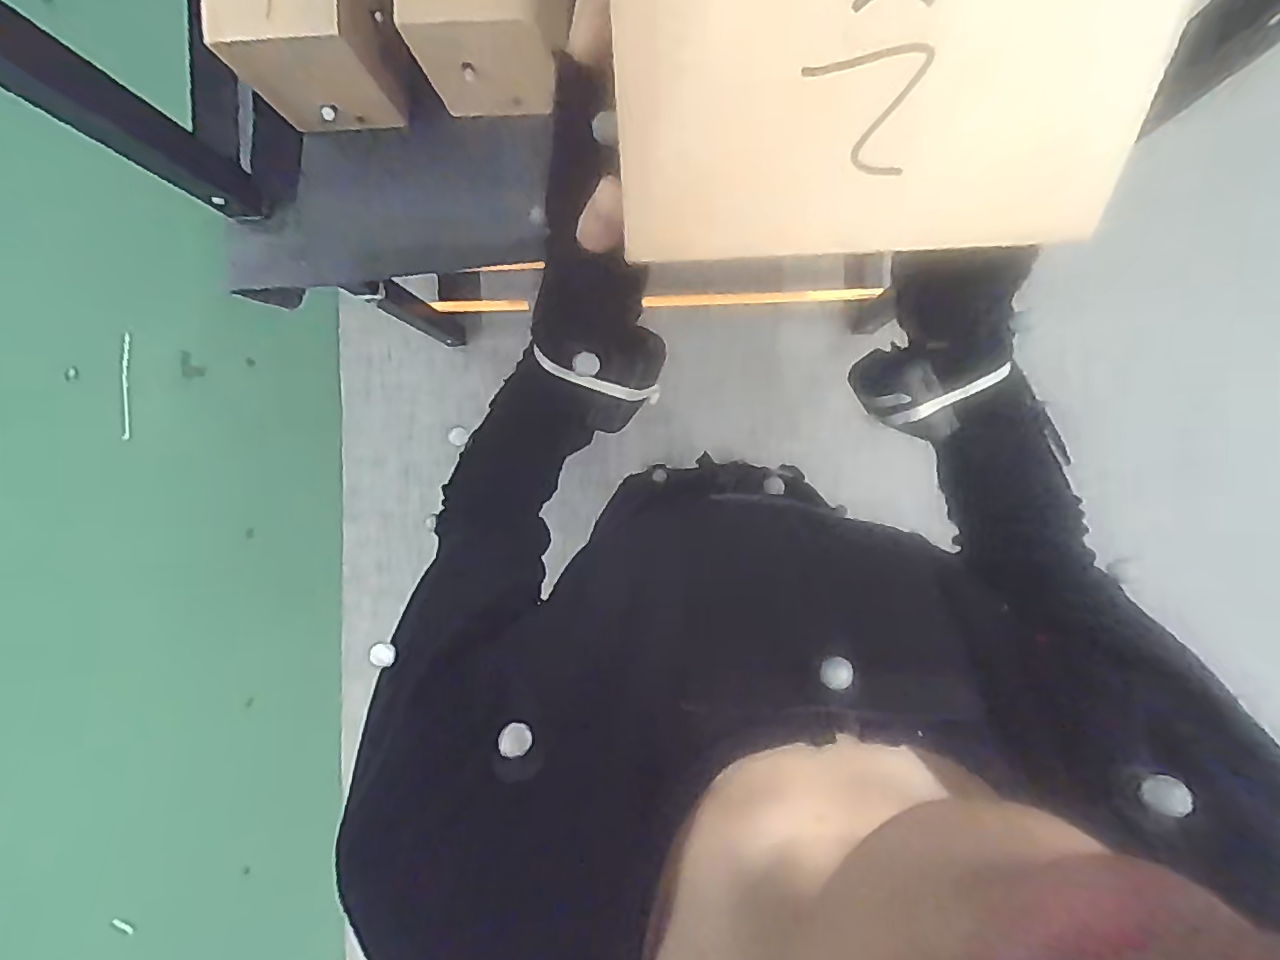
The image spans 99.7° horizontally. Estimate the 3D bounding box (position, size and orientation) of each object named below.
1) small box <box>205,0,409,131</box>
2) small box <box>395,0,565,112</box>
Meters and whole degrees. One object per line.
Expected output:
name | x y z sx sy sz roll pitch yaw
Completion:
small box | -0.419 -0.595 0.704 0.168 0.176 0.179 -1 91 3
small box | -0.192 -0.606 0.693 0.168 0.176 0.179 0 90 3
